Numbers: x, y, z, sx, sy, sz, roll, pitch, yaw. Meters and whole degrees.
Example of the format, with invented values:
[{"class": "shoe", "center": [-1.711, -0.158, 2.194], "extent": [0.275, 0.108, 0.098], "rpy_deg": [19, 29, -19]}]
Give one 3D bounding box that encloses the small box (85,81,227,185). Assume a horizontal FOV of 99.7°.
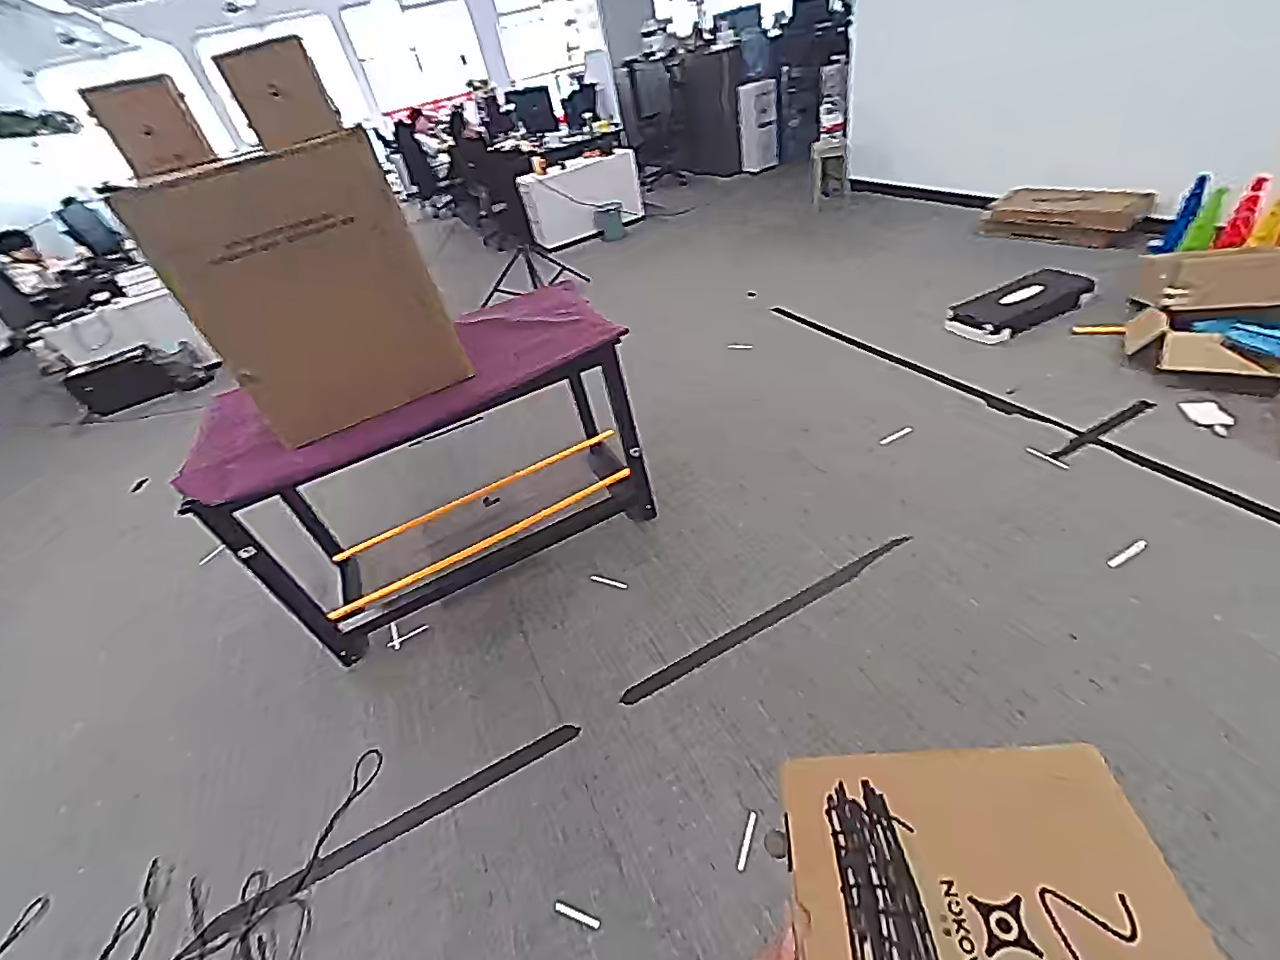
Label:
[{"class": "small box", "center": [-1.081, -0.785, 1.227], "extent": [0.168, 0.176, 0.179], "rpy_deg": [-25, 40, -16]}]
